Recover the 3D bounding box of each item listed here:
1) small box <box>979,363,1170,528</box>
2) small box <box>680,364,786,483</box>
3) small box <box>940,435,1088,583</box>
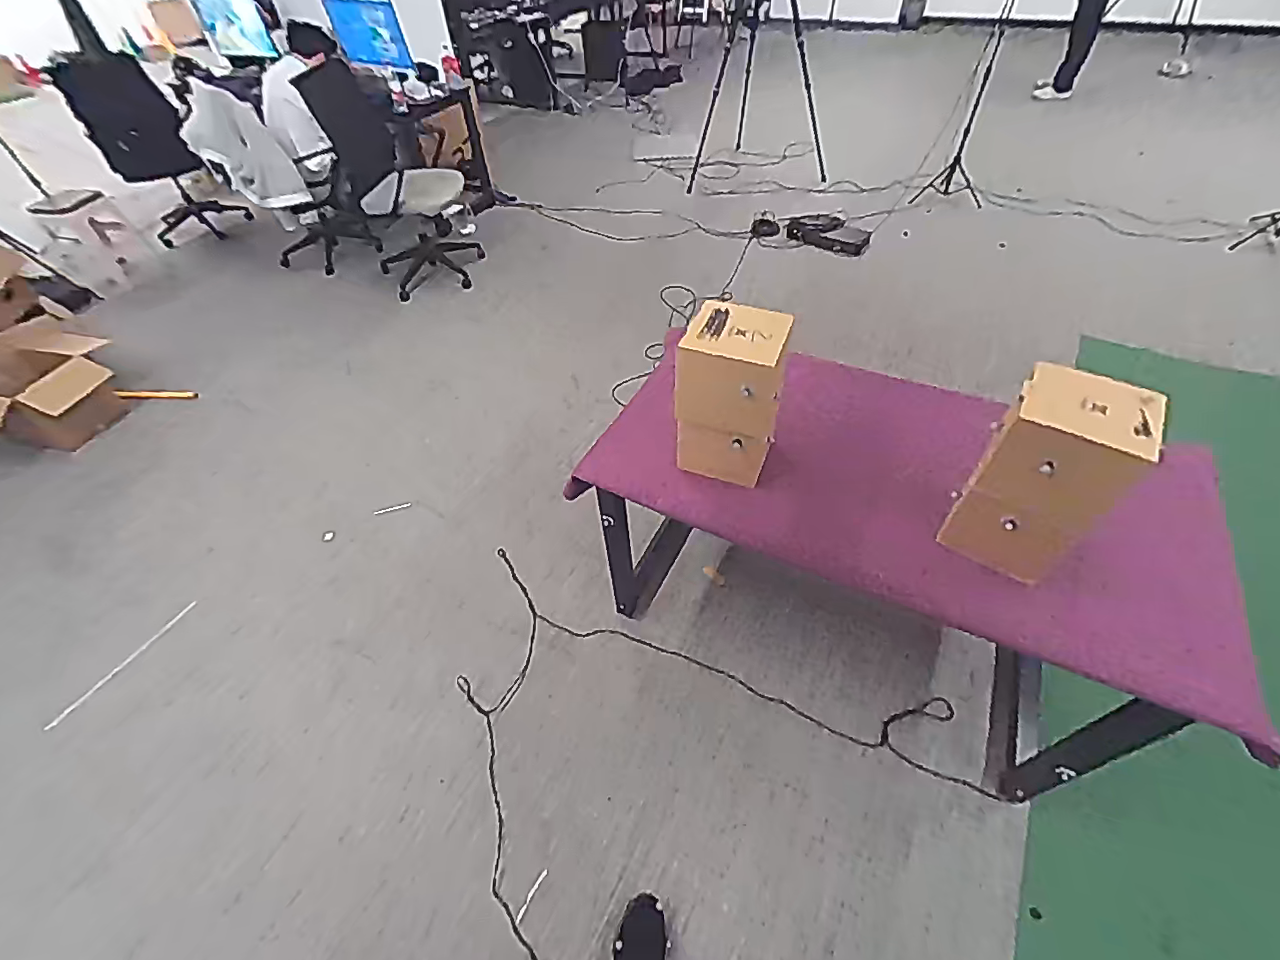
[{"bbox_3d":[0.673,-0.052,0.855,0.179,0.176,0.168,27,56,25],"label":"small box"},{"bbox_3d":[0.194,-0.117,1.153,0.179,0.176,0.168,17,51,17],"label":"small box"},{"bbox_3d":[0.681,0.055,0.978,0.179,0.176,0.168,30,57,26],"label":"small box"}]
